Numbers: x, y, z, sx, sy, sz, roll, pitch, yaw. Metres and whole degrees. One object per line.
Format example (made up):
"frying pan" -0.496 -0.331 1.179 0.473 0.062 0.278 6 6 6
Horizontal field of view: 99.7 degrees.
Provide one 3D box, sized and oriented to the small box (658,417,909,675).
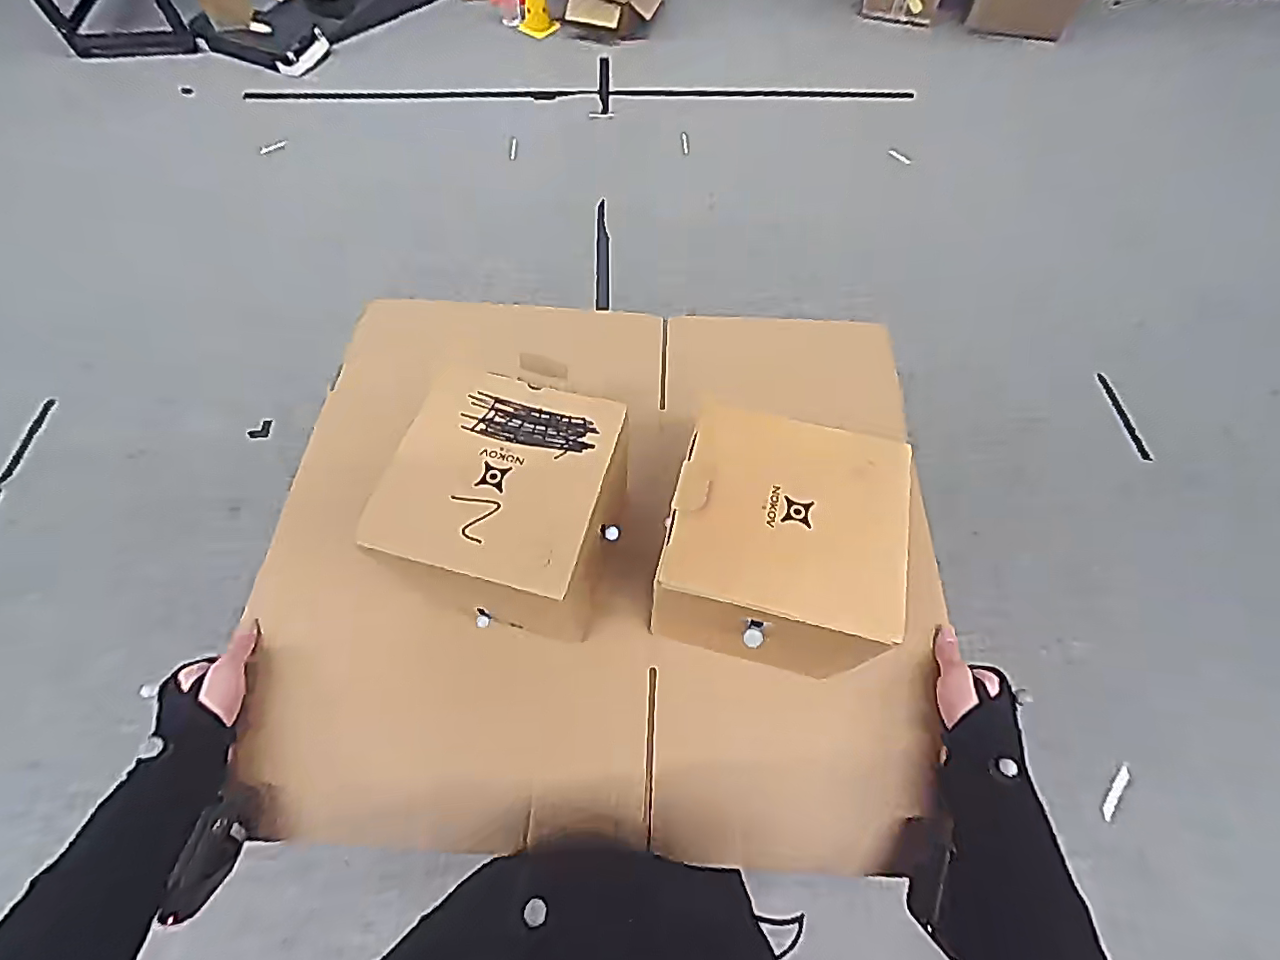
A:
"small box" 0.120 0.070 0.495 0.179 0.176 0.168 13 63 8
